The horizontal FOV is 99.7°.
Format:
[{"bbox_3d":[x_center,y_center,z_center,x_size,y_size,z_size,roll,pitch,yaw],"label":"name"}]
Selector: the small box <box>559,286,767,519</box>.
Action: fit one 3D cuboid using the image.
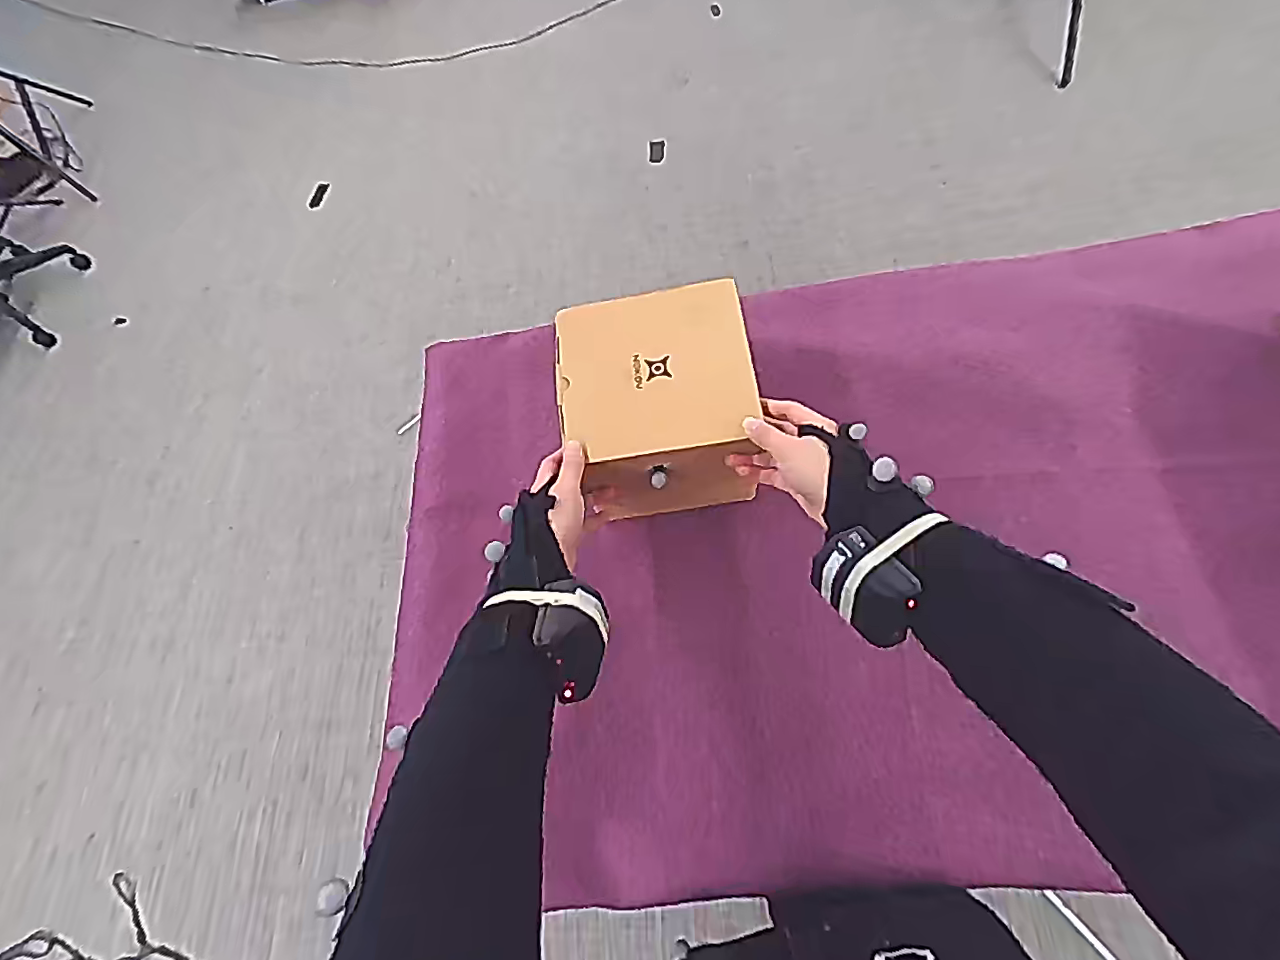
[{"bbox_3d":[0.024,-0.068,0.559,0.179,0.176,0.168,-8,68,6],"label":"small box"}]
